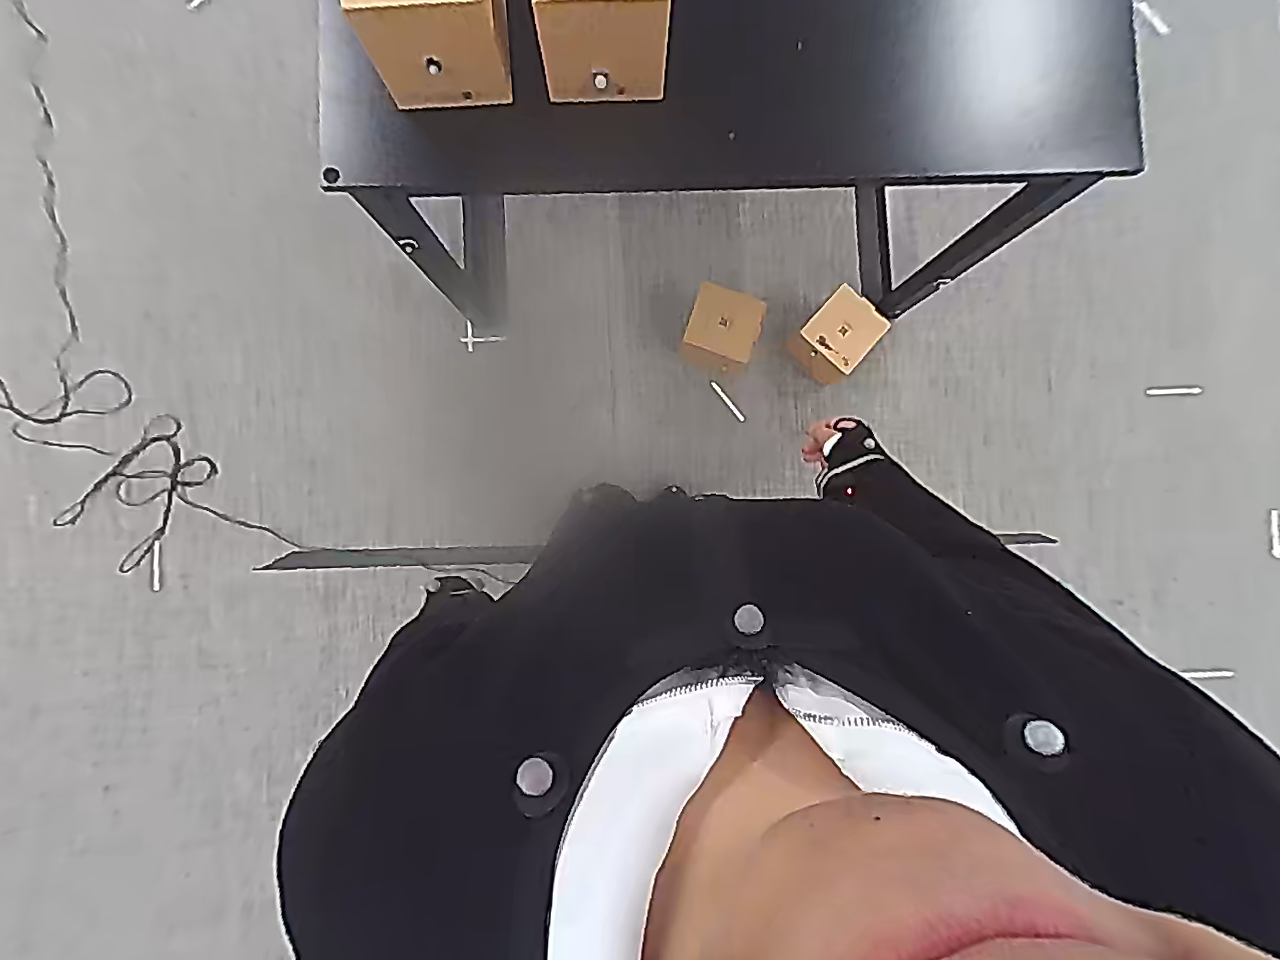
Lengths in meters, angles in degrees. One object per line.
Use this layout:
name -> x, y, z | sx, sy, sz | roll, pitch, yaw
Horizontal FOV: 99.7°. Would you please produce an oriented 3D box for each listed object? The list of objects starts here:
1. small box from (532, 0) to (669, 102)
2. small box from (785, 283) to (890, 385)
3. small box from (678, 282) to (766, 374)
small box -> -0.051, -0.643, 0.713 | 0.168, 0.176, 0.179 | -2, 89, -1
small box -> 0.515, -0.382, 1.443 | 0.168, 0.176, 0.179 | 42, 88, 1
small box -> 0.212, -0.394, 1.442 | 0.179, 0.176, 0.168 | 19, 88, 1
